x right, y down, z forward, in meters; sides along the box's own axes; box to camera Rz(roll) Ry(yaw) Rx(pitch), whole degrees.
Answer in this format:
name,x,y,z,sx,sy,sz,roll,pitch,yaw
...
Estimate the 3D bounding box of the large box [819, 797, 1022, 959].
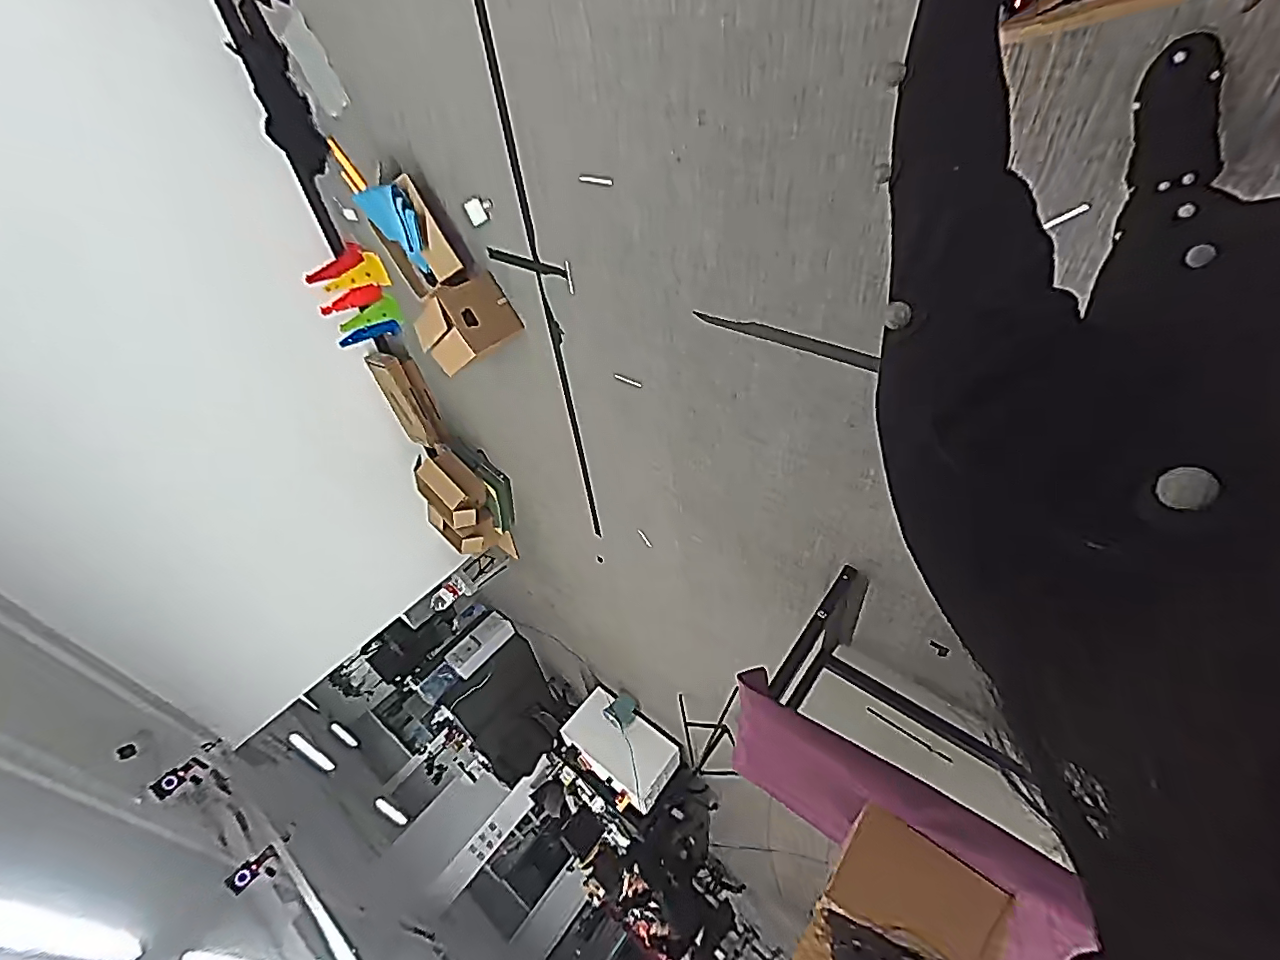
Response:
name,x,y,z,sx,sy,sz,roll,pitch,yaw
large box,0.786,1.222,1.553,0.408,0.320,0.320,27,142,33
